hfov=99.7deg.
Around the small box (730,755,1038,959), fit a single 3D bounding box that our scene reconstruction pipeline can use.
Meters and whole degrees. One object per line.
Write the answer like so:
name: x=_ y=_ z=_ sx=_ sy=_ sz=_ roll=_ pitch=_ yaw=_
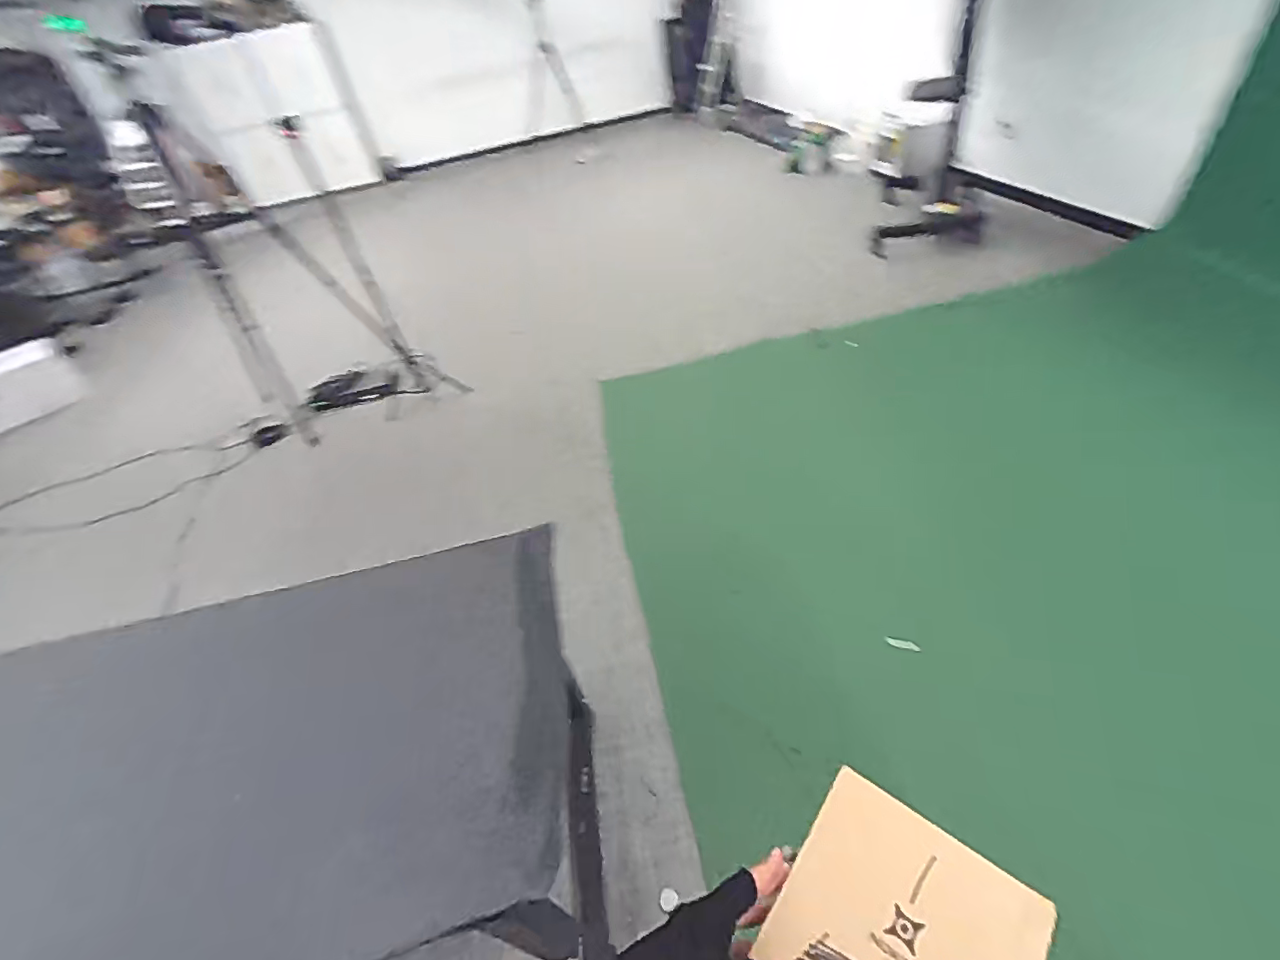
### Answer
small box: x=0.195 y=0.382 z=0.462 sx=0.168 sy=0.176 sz=0.179 roll=25 pitch=59 yaw=30
